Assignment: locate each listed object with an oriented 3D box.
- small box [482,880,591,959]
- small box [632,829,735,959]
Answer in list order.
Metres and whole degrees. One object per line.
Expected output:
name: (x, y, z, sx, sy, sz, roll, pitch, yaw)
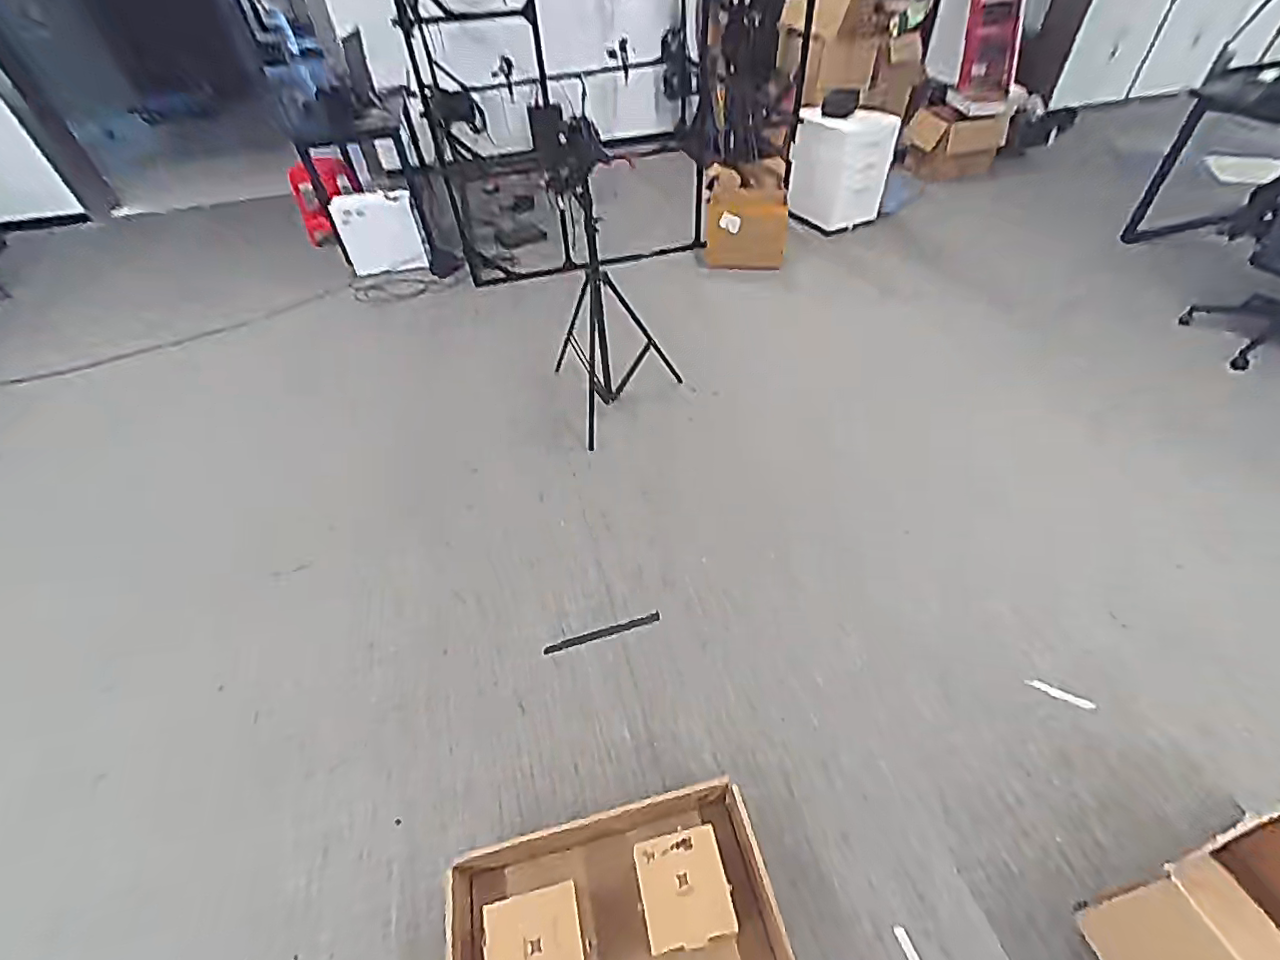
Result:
small box: (-0.193, 0.904, 1.038, 0.179, 0.176, 0.168, -11, 48, -10)
small box: (0.085, 0.833, 1.086, 0.168, 0.176, 0.179, -11, 48, -6)
